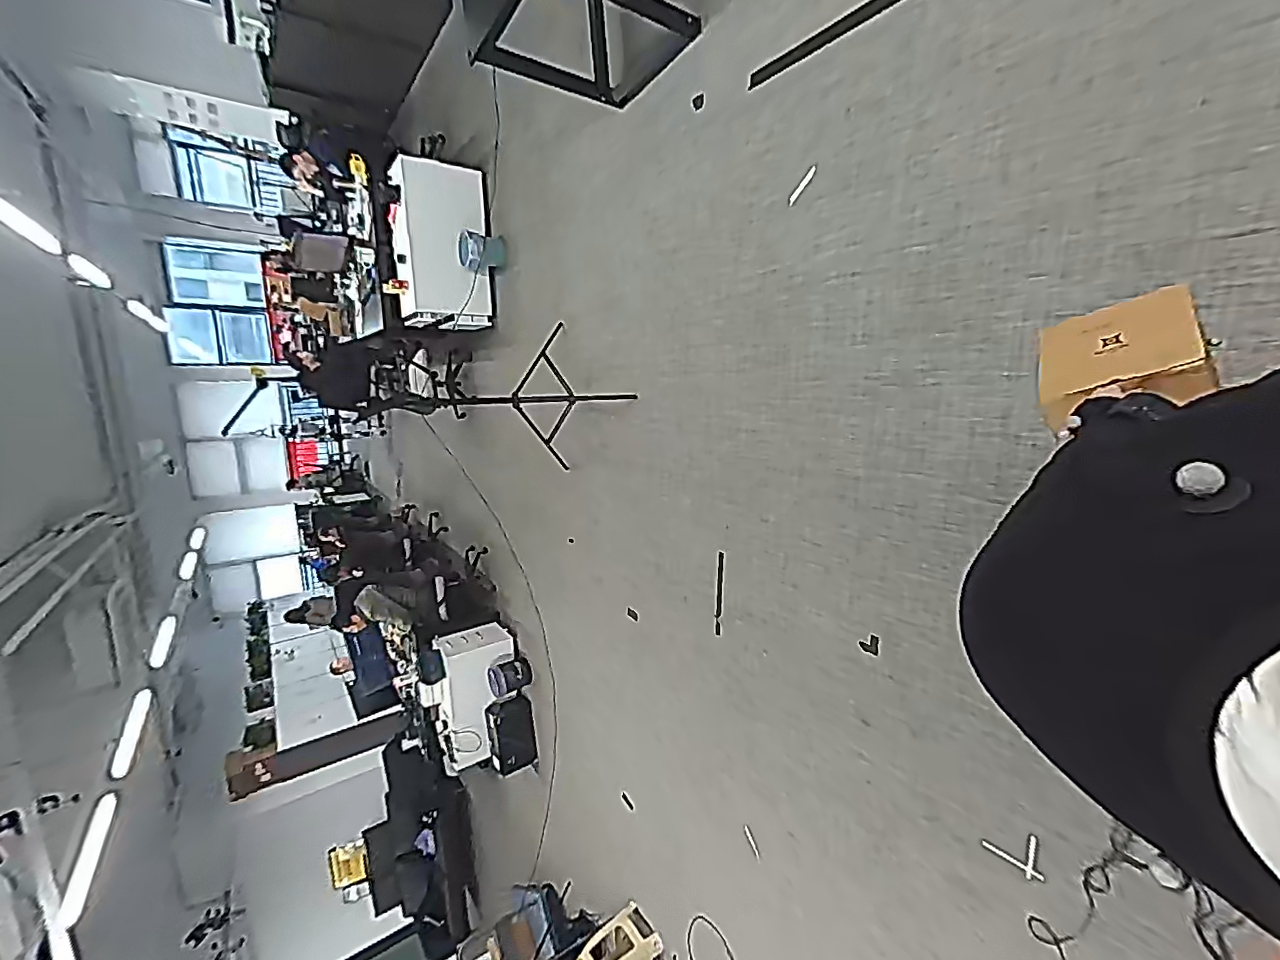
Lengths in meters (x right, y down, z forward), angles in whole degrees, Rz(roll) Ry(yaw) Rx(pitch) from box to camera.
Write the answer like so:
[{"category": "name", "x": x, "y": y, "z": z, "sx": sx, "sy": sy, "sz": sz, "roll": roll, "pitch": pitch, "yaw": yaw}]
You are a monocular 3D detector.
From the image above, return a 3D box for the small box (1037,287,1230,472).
[{"category": "small box", "x": 0.688, "y": -0.128, "z": 0.763, "sx": 0.168, "sy": 0.179, "sz": 0.176, "roll": -15, "pitch": 125, "yaw": 48}]
